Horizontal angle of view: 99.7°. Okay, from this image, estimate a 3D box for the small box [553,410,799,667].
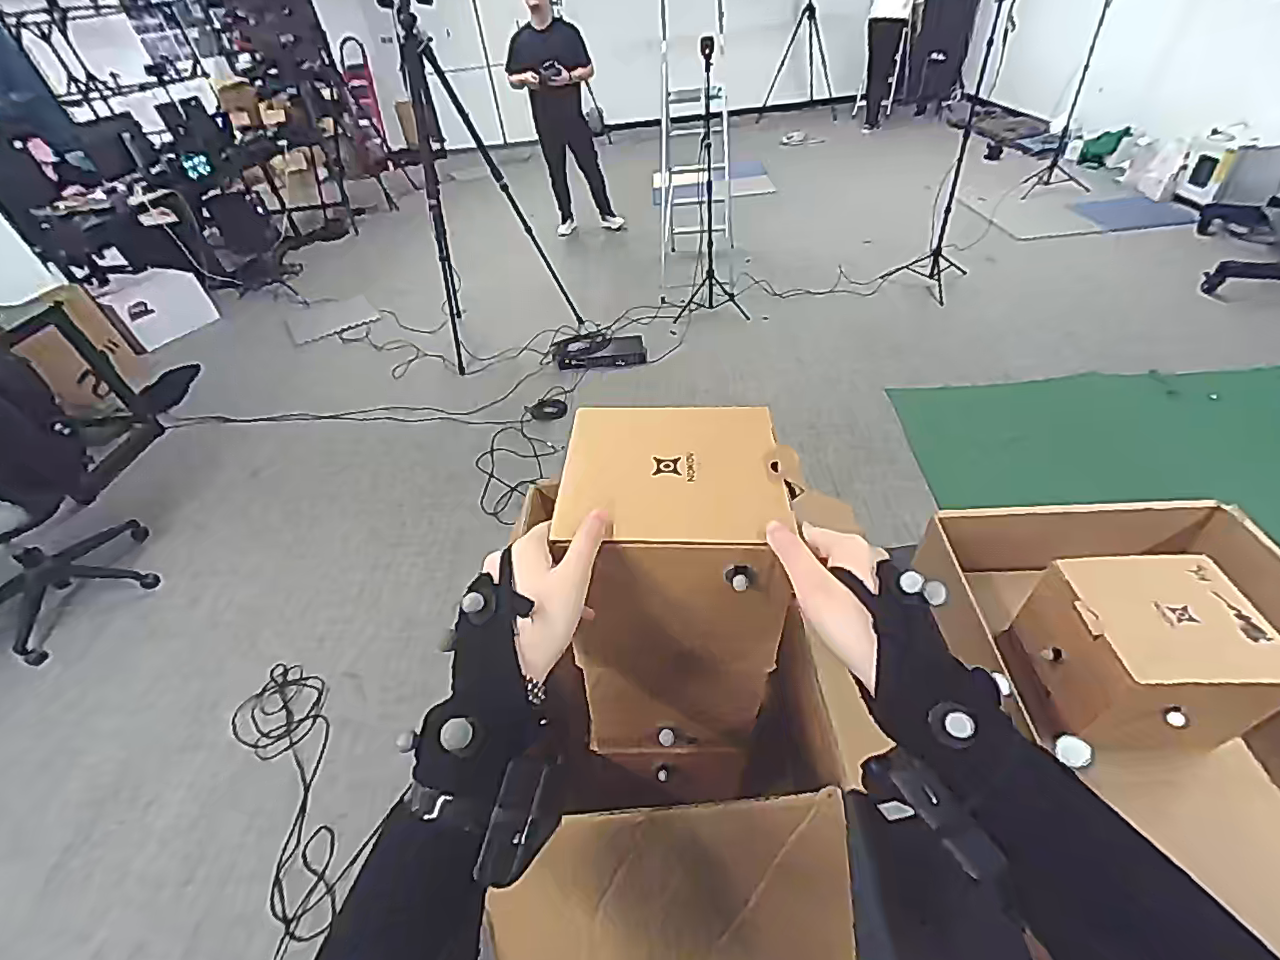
[{"bbox_3d":[0.029,0.053,0.486,0.179,0.176,0.168,1,42,2],"label":"small box"}]
